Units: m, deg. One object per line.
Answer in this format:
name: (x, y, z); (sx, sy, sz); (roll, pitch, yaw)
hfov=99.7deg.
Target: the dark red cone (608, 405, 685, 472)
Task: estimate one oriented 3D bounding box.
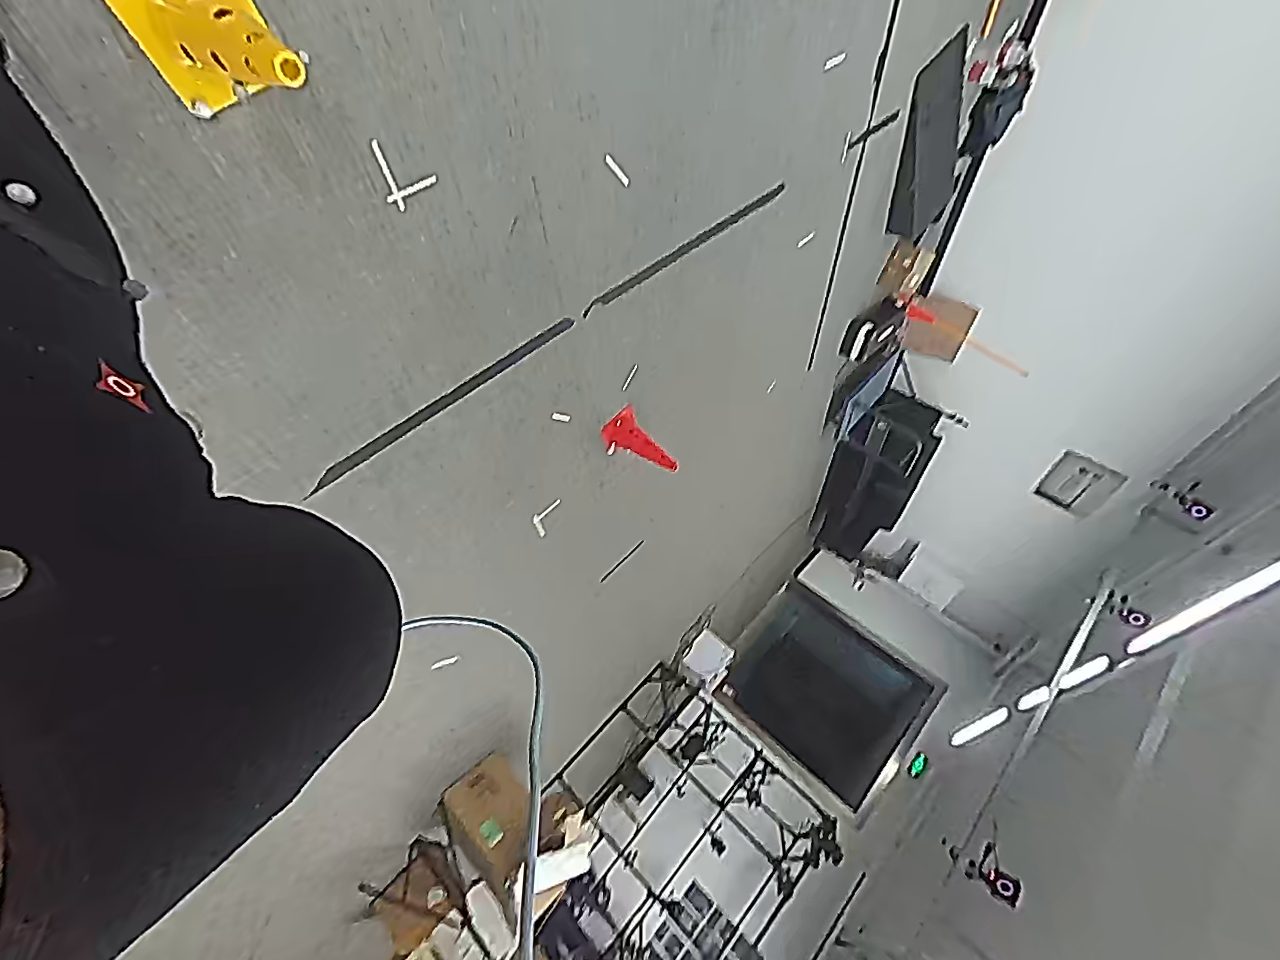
dark red cone: (0.050, -0.154, 2.451); (0.202, 0.394, 0.201); (-45, 151, -17)
